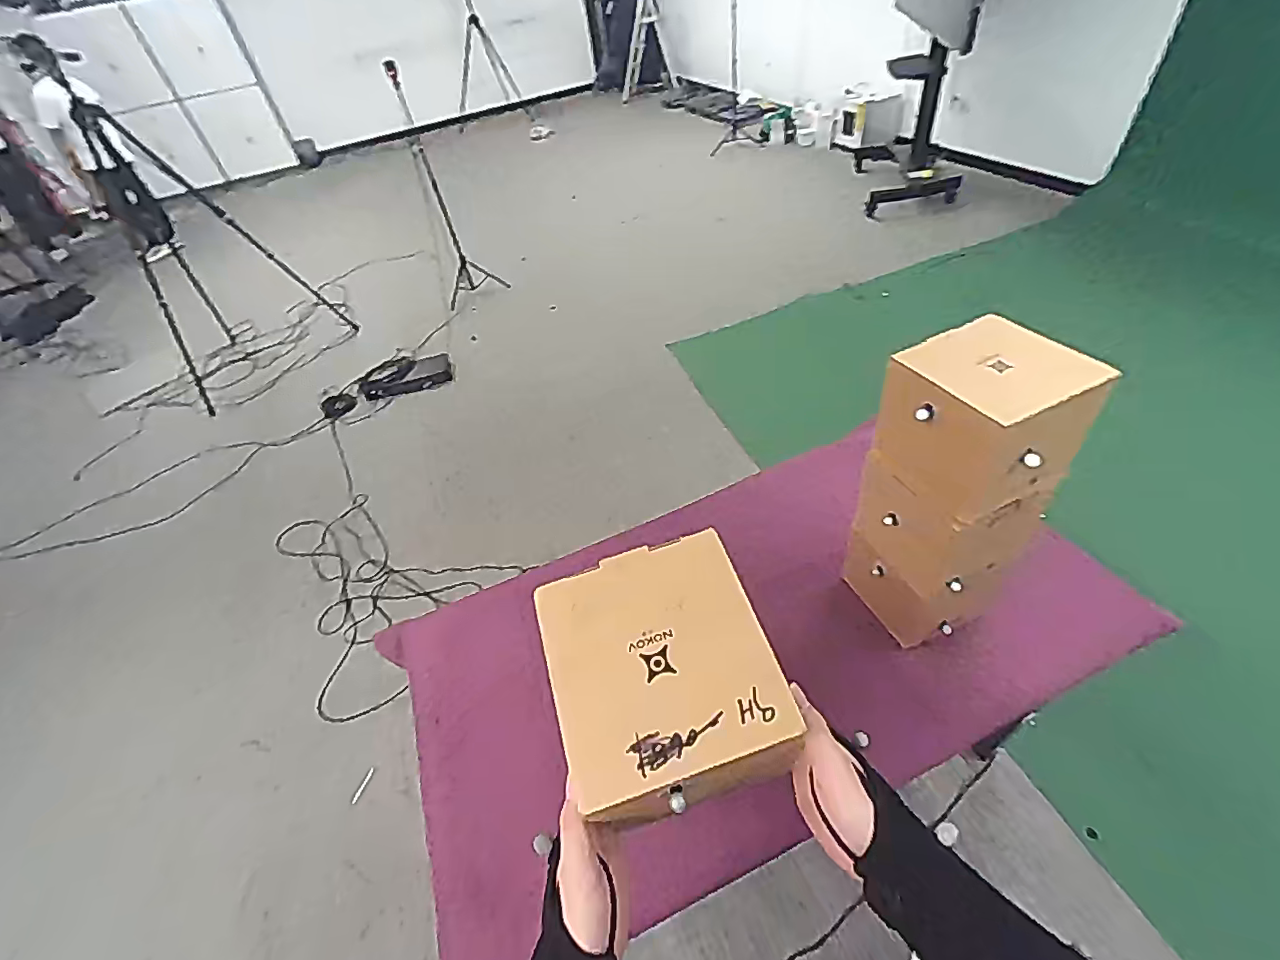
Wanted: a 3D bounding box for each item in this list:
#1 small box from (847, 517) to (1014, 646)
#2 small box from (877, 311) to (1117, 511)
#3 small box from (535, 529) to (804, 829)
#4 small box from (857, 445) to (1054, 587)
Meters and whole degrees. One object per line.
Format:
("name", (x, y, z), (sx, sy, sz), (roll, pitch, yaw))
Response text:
("small box", (0.476, 0.148, 0.922), (0.168, 0.176, 0.179), (-22, 46, -8))
("small box", (0.434, -0.083, 0.694), (0.168, 0.176, 0.179), (-24, 44, -10))
("small box", (0.022, 0.176, 0.470), (0.168, 0.176, 0.179), (-19, 53, -3))
("small box", (0.450, 0.036, 0.805), (0.168, 0.176, 0.179), (-22, 44, -9))
